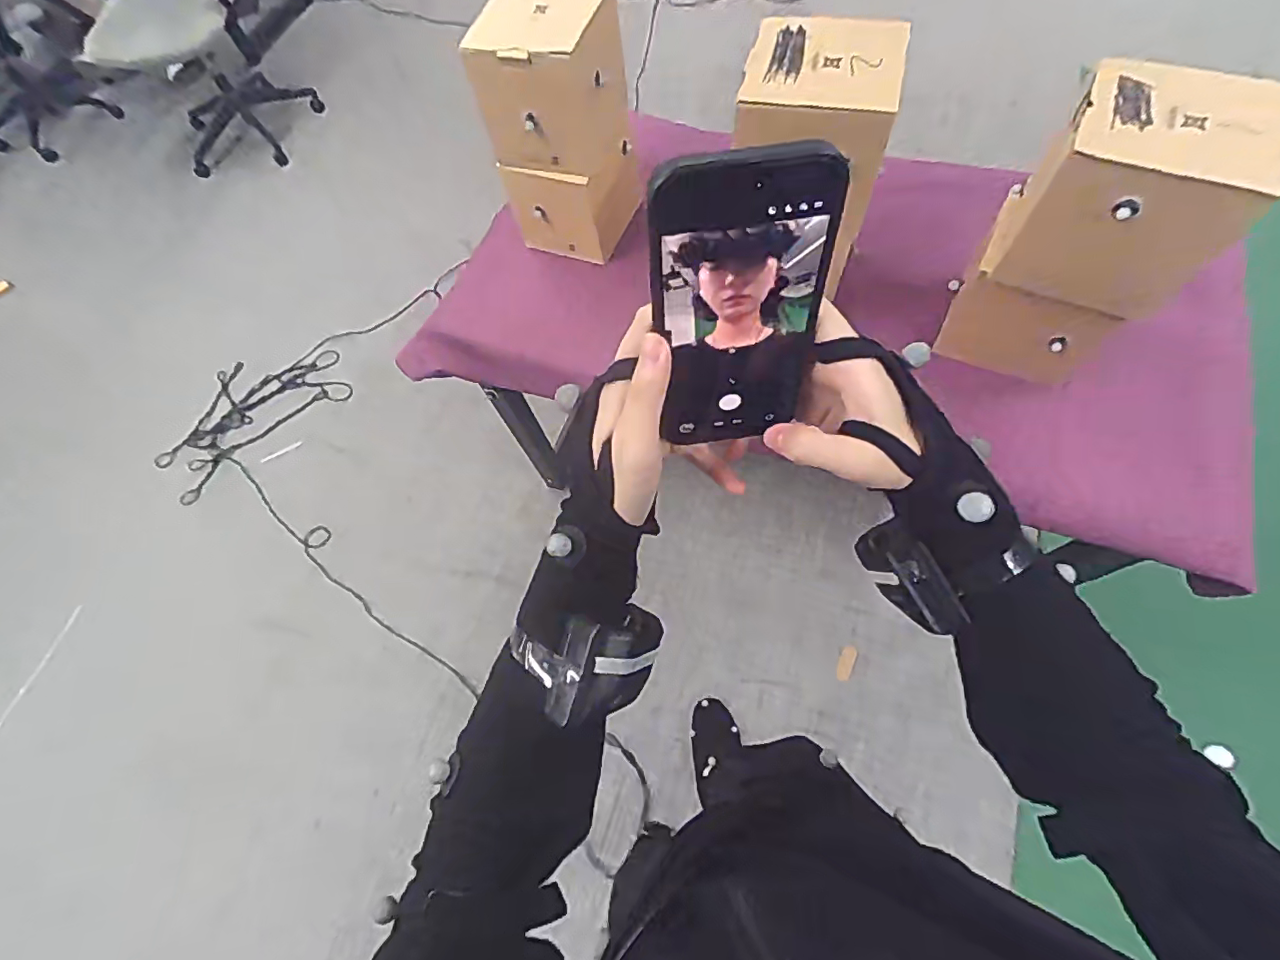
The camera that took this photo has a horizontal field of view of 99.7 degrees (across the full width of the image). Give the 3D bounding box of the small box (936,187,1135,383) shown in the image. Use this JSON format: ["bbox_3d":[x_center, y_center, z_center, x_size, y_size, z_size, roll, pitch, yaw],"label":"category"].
[{"bbox_3d":[0.550,-0.260,0.749,0.179,0.176,0.168,24,71,18],"label":"small box"}]

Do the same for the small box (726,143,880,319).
[{"bbox_3d":[0.242,-0.377,0.838,0.179,0.176,0.168,18,69,15],"label":"small box"}]

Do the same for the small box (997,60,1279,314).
[{"bbox_3d":[0.534,-0.312,0.593,0.179,0.176,0.168,24,71,16],"label":"small box"}]

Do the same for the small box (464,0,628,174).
[{"bbox_3d":[-0.124,-0.588,0.799,0.168,0.176,0.179,14,69,12],"label":"small box"}]

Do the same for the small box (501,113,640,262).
[{"bbox_3d":[-0.108,-0.514,0.945,0.168,0.176,0.179,19,69,15],"label":"small box"}]
